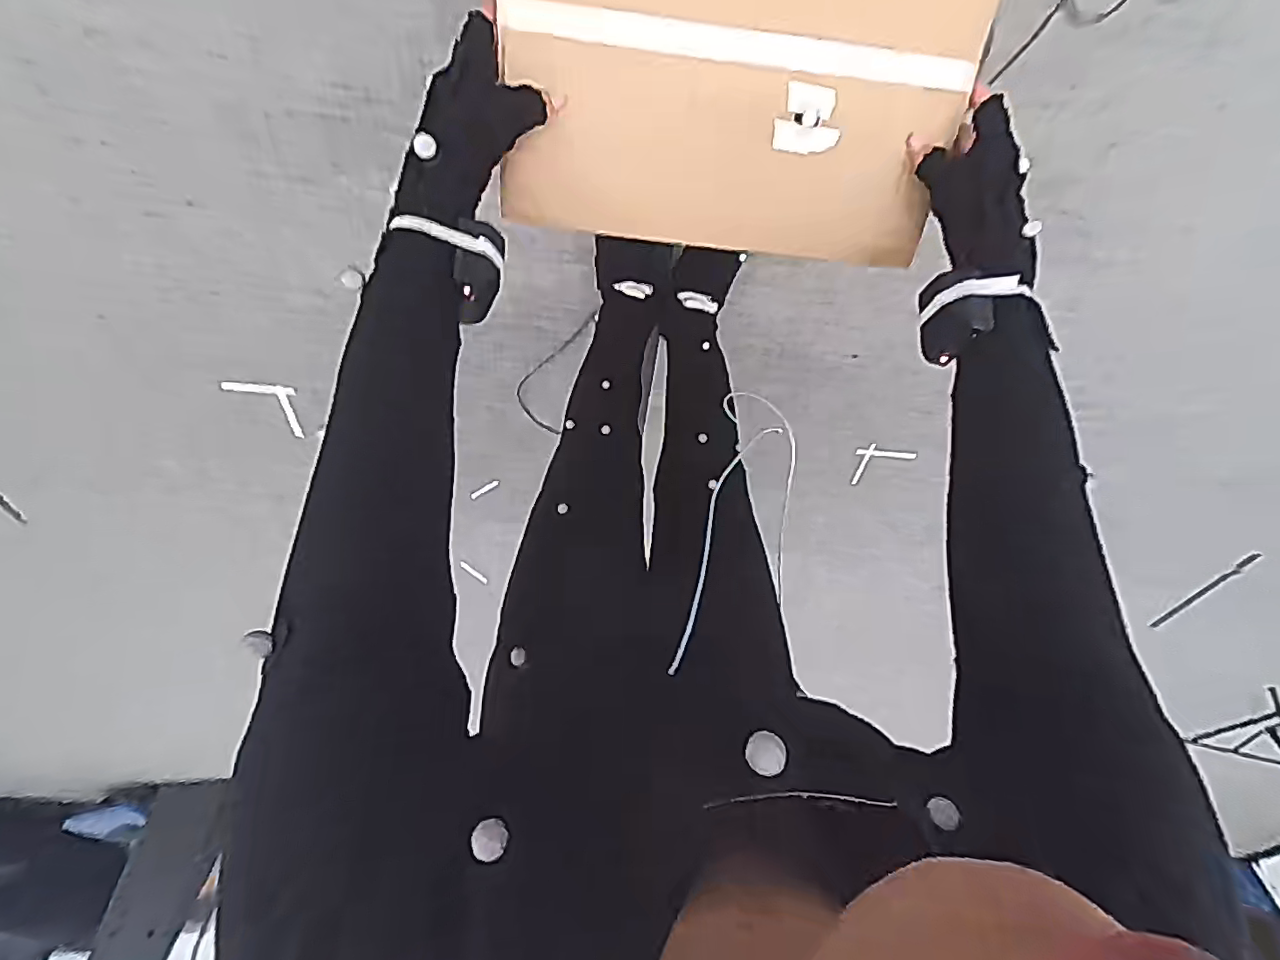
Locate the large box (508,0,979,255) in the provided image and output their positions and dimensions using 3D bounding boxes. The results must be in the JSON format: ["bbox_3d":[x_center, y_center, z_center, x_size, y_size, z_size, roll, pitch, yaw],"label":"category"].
[{"bbox_3d":[0.079,-0.455,0.599,0.408,0.320,0.320,5,122,-5],"label":"large box"}]
